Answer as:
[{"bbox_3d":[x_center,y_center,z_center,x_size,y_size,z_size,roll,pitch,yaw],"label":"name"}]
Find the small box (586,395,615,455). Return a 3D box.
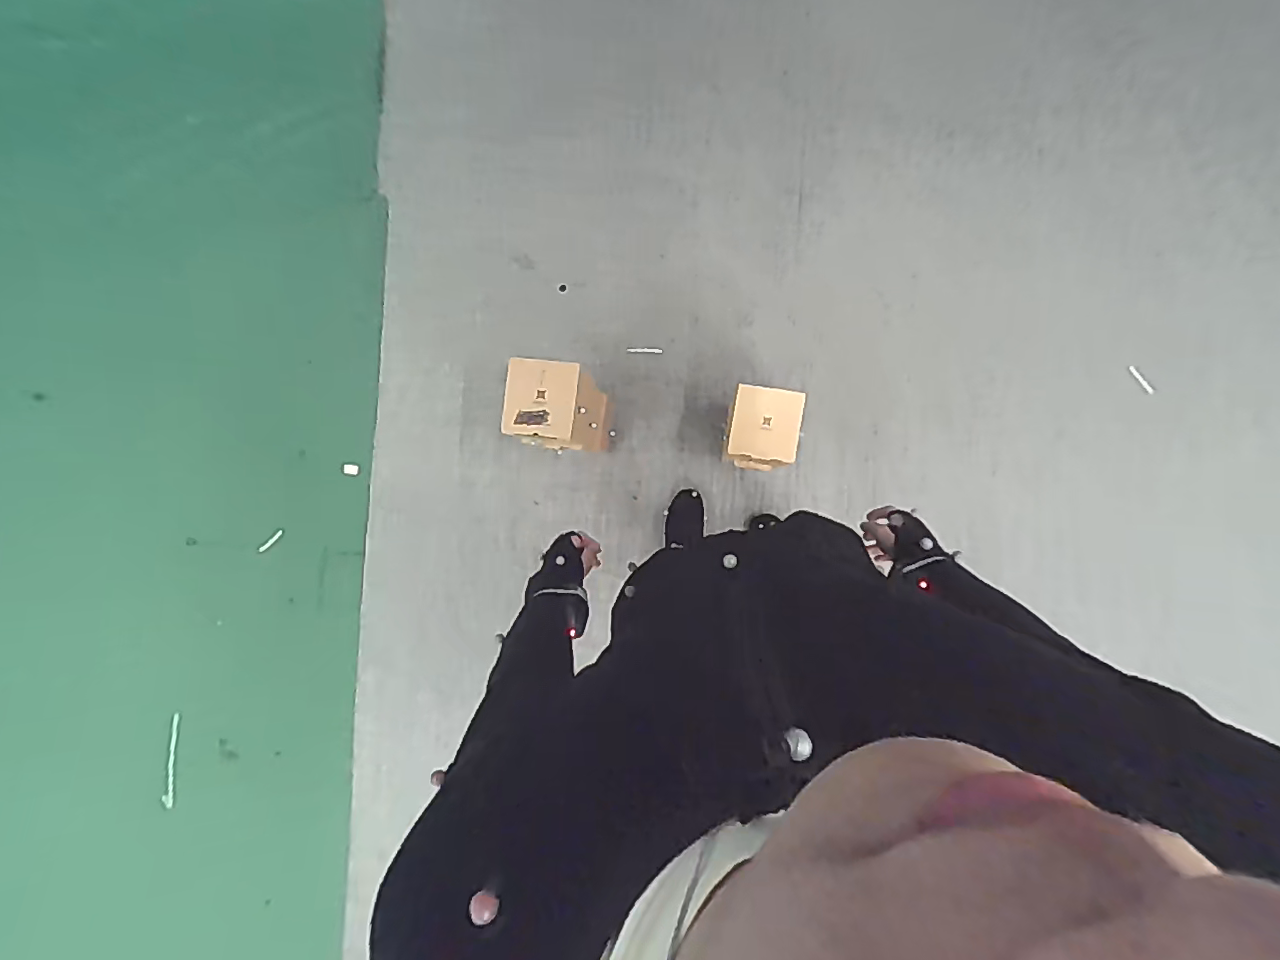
[{"bbox_3d":[-0.183,-0.168,1.609,0.179,0.176,0.168,9,90,6],"label":"small box"}]

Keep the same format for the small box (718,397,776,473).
[{"bbox_3d":[0.322,-0.125,1.549,0.168,0.176,0.179,15,91,9],"label":"small box"}]

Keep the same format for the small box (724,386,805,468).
[{"bbox_3d":[0.312,-0.130,1.389,0.168,0.176,0.179,10,90,6],"label":"small box"}]

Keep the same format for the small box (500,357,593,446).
[{"bbox_3d":[-0.215,-0.179,1.282,0.168,0.176,0.179,7,89,7],"label":"small box"}]

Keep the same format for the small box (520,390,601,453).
[{"bbox_3d":[-0.207,-0.168,1.447,0.168,0.176,0.179,8,91,6],"label":"small box"}]
